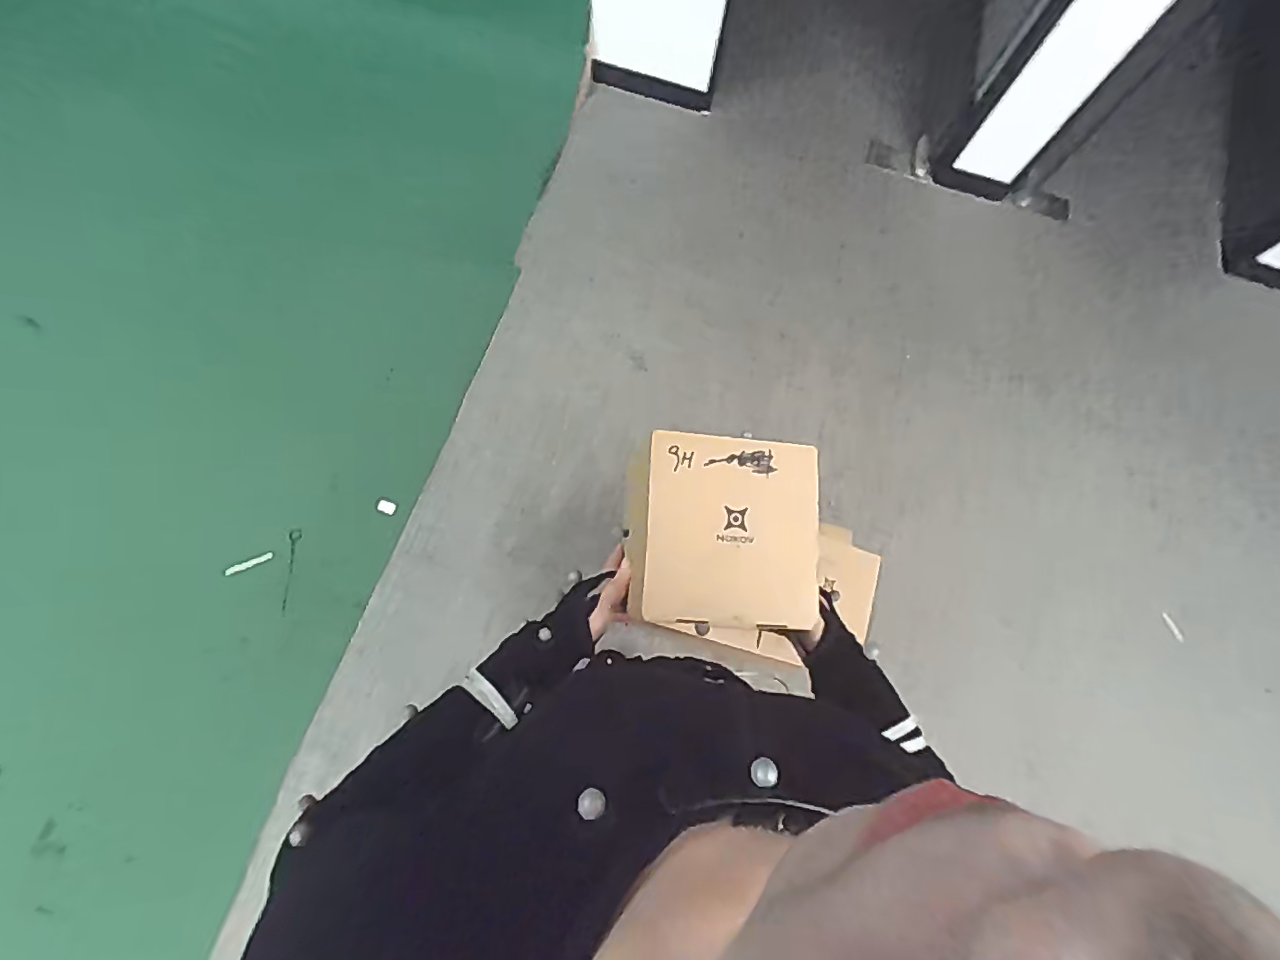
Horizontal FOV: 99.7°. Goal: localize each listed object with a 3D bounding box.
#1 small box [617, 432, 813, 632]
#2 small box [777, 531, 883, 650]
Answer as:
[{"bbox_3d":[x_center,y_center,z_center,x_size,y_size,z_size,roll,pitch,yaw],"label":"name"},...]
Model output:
[{"bbox_3d":[0.068,0.058,0.574,0.168,0.176,0.179,5,80,-9],"label":"small box"},{"bbox_3d":[0.330,0.213,1.030,0.168,0.176,0.179,20,71,3],"label":"small box"}]
